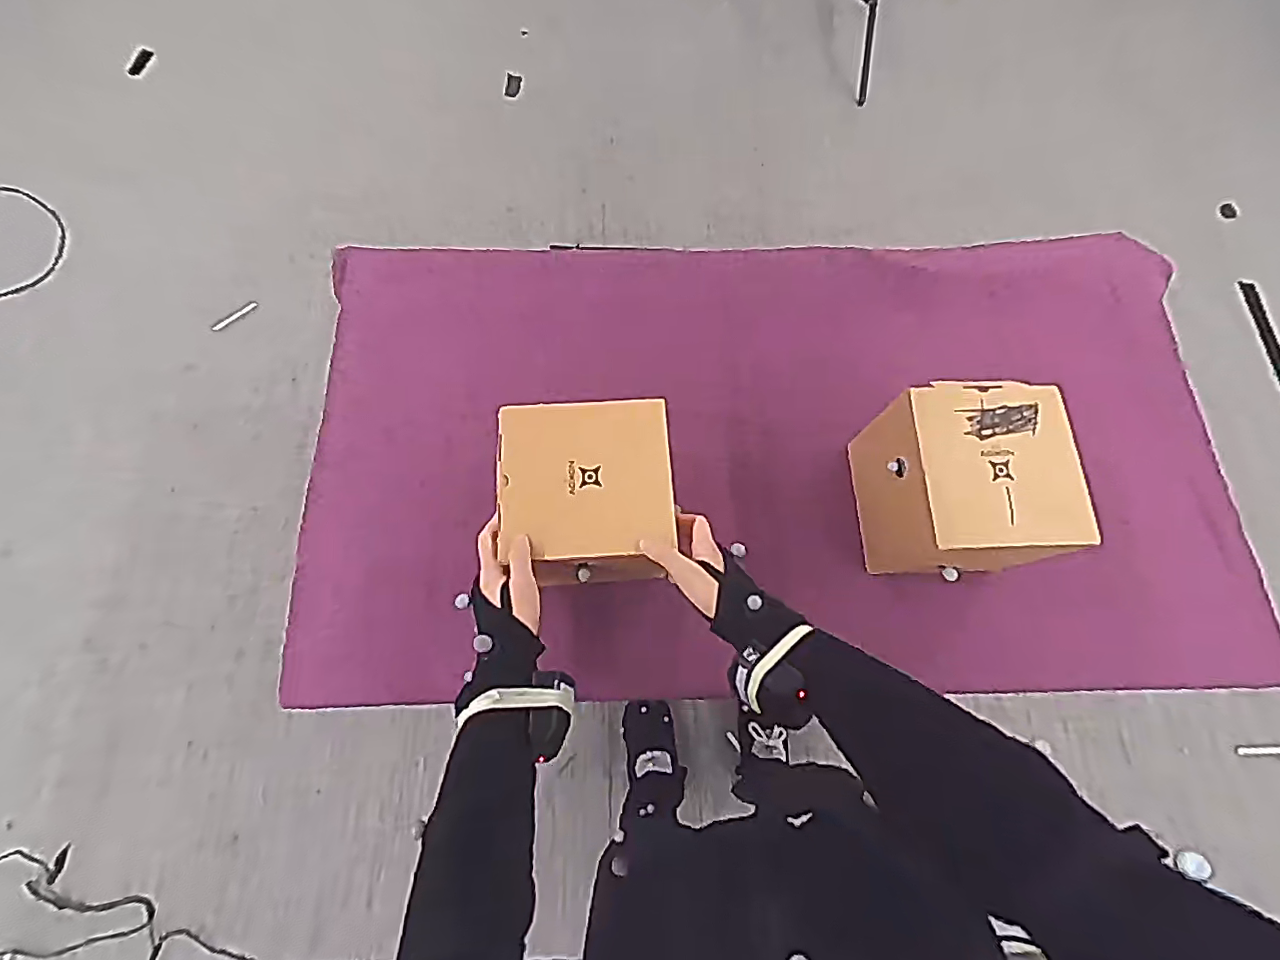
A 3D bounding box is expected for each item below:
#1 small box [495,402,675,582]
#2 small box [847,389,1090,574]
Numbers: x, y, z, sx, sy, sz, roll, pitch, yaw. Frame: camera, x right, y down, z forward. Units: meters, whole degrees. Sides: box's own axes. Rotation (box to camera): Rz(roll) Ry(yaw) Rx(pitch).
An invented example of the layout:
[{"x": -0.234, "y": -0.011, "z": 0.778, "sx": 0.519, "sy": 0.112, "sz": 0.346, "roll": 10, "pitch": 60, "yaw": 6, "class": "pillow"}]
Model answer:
[{"x": -0.060, "y": 0.023, "z": 0.621, "sx": 0.179, "sy": 0.176, "sz": 0.168, "roll": -4, "pitch": 73, "yaw": -2, "class": "small box"}, {"x": 0.360, "y": 0.009, "z": 0.634, "sx": 0.168, "sy": 0.176, "sz": 0.179, "roll": -1, "pitch": 72, "yaw": -1, "class": "small box"}]
